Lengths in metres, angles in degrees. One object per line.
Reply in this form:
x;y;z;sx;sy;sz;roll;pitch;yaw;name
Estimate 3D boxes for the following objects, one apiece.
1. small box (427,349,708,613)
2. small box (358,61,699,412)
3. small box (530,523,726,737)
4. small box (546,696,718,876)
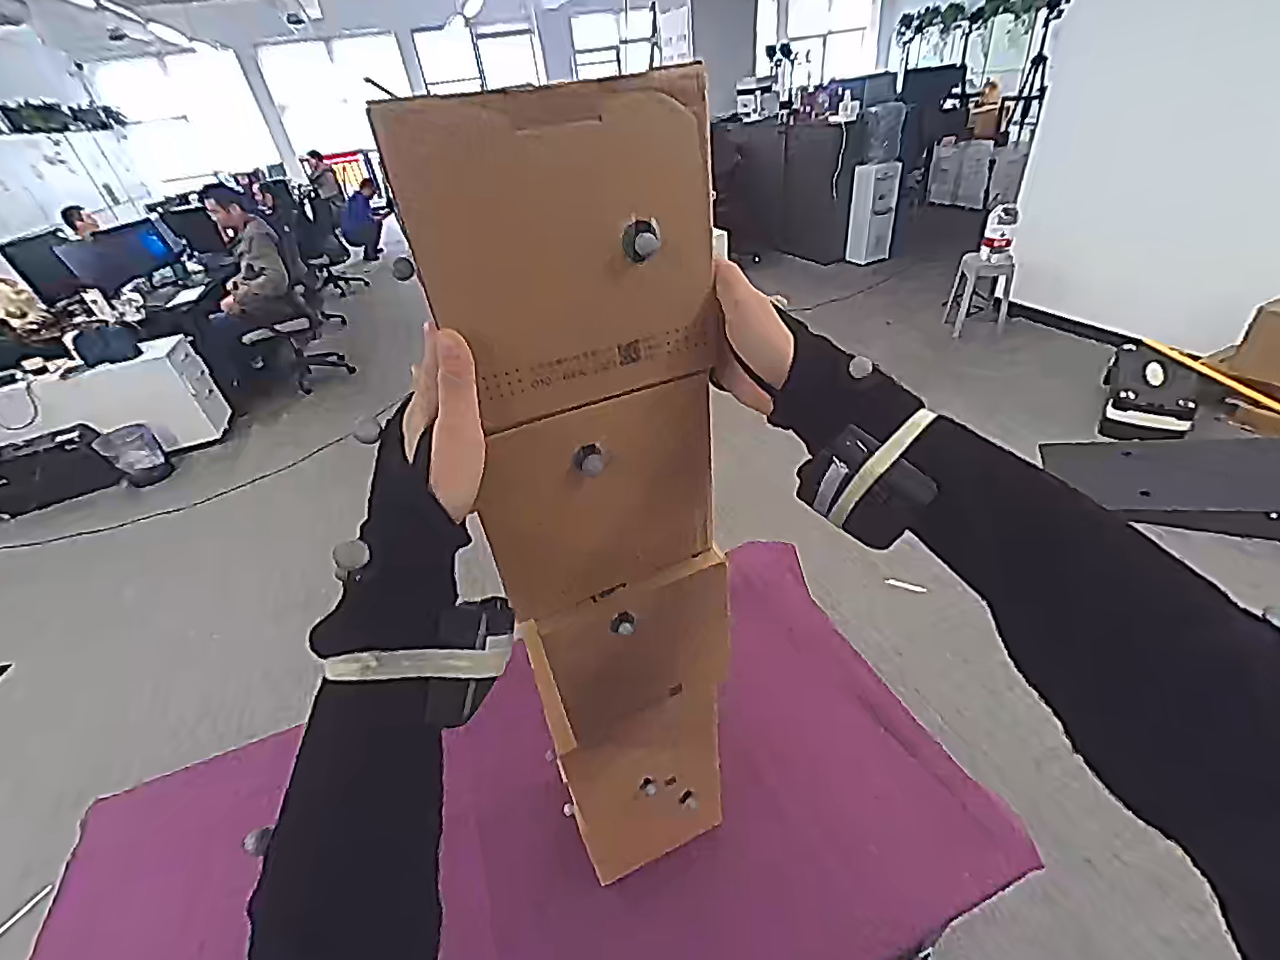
-0.056;-0.024;0.452;0.179;0.176;0.168;-20;38;-15;small box
-0.068;-0.160;0.363;0.168;0.176;0.179;-17;36;-14;small box
-0.027;0.111;0.539;0.168;0.176;0.179;-19;37;-15;small box
-0.008;0.380;0.725;0.179;0.176;0.168;-19;37;-14;small box
